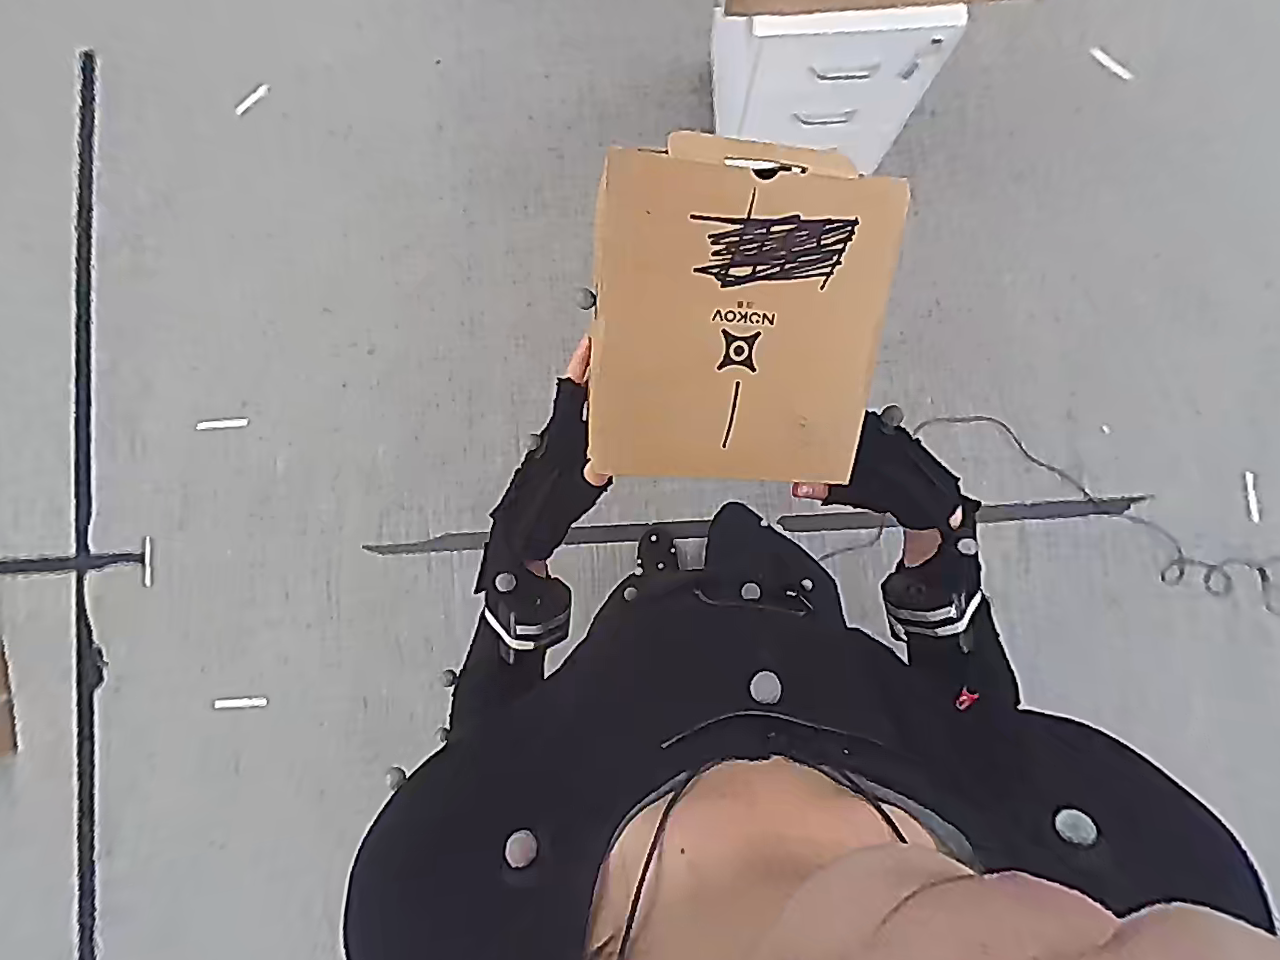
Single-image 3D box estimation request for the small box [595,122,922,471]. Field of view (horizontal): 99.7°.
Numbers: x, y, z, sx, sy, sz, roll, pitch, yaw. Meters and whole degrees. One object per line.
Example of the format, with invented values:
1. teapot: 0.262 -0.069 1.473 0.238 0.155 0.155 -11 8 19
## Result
1. small box: 0.057 -0.116 0.381 0.168 0.176 0.179 3 108 -7
